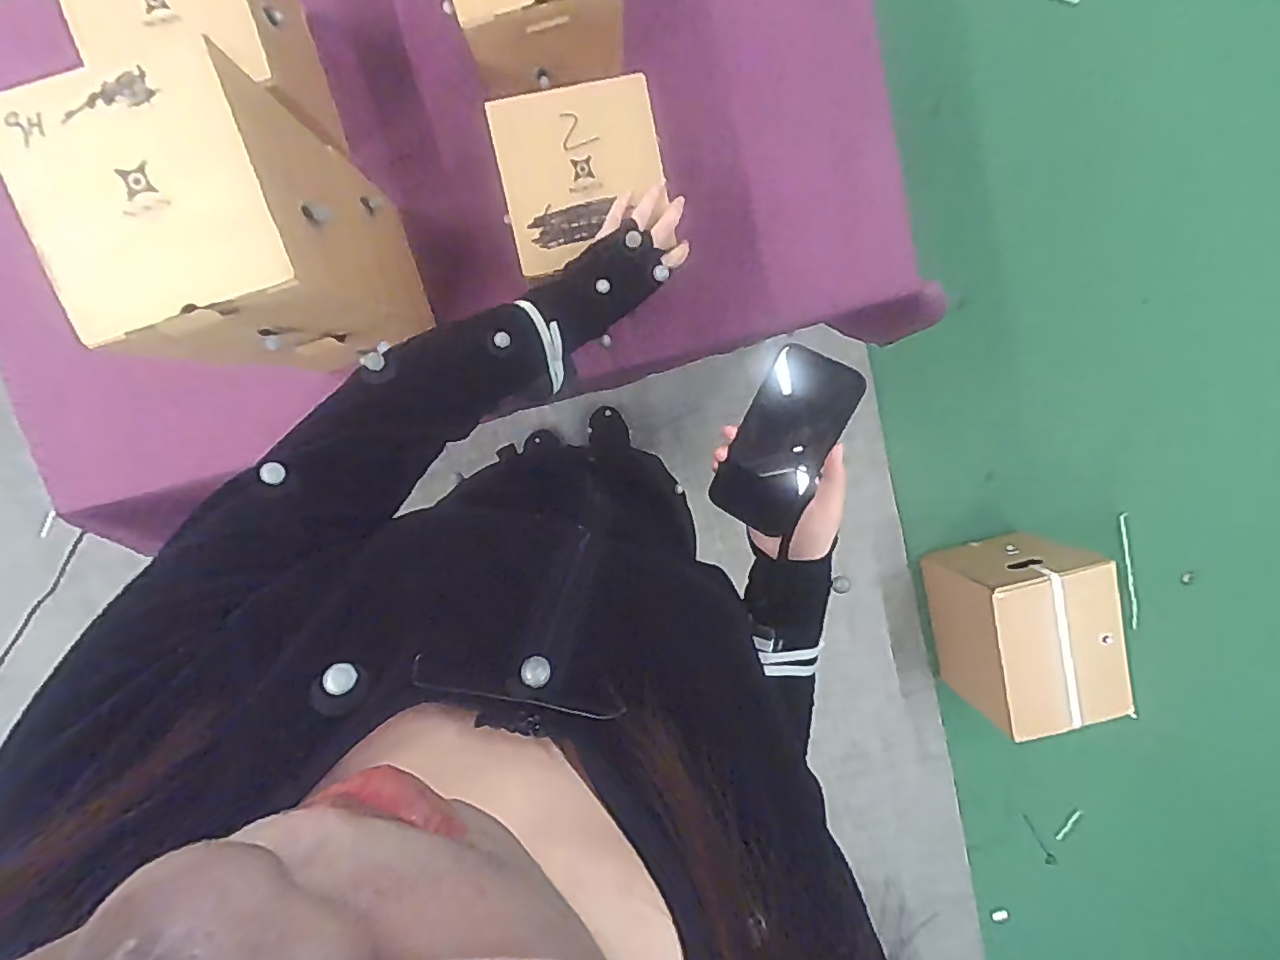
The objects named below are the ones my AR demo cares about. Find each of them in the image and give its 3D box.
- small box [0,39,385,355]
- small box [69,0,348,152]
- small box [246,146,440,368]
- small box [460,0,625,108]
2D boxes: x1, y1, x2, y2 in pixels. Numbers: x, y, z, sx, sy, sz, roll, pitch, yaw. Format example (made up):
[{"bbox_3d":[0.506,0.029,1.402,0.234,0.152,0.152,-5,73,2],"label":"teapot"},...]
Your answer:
[{"bbox_3d":[-0.353,-0.213,0.465,0.168,0.176,0.179,-18,99,-1],"label":"small box"},{"bbox_3d":[-0.455,-0.461,0.592,0.168,0.176,0.179,-15,99,-2],"label":"small box"},{"bbox_3d":[-0.359,-0.240,0.628,0.168,0.176,0.179,-17,98,0],"label":"small box"},{"bbox_3d":[-0.121,-0.561,0.595,0.168,0.176,0.179,-17,100,0],"label":"small box"}]
